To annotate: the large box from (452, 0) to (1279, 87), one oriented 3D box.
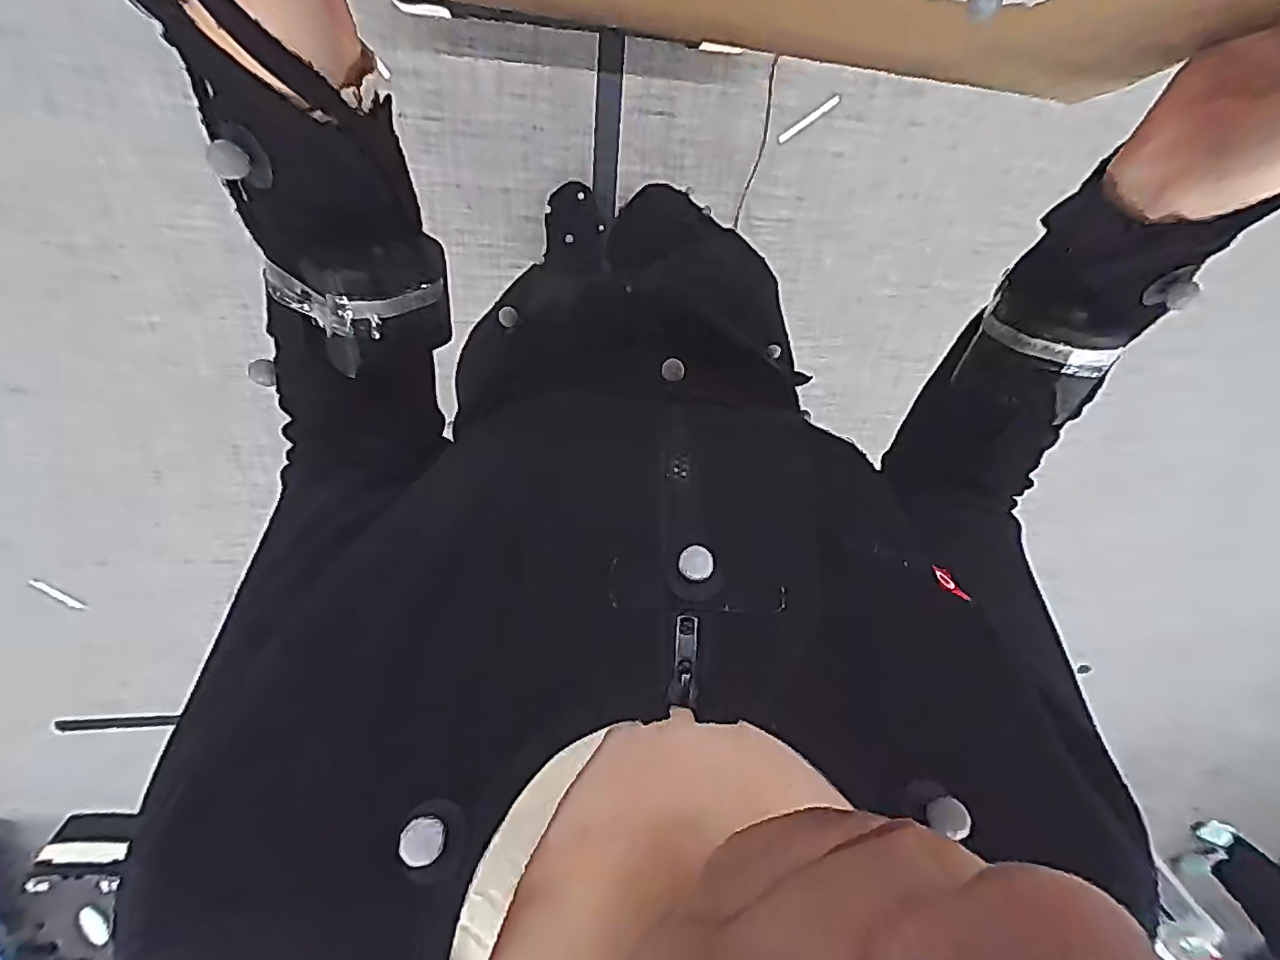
[{"bbox_3d":[0.082,-0.338,0.111,0.408,0.320,0.320,3,109,-7],"label":"large box"}]
